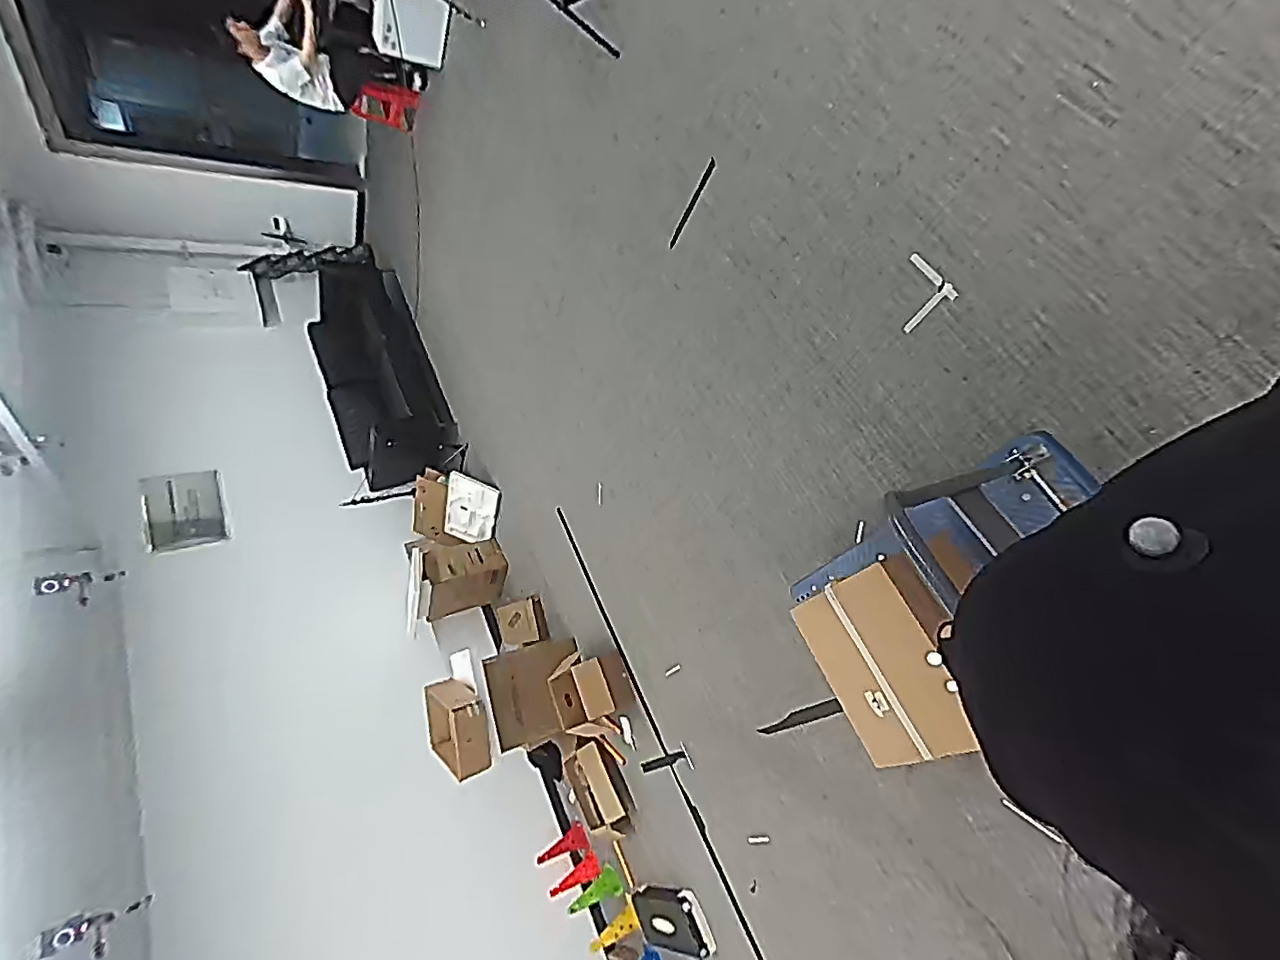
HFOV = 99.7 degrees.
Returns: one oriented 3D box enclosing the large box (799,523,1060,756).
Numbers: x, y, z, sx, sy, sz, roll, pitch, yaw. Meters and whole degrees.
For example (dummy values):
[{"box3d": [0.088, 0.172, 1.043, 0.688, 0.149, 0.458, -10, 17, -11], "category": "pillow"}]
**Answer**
[{"box3d": [0.673, 0.369, 1.292, 0.408, 0.320, 0.320, 63, 143, 20], "category": "large box"}]
